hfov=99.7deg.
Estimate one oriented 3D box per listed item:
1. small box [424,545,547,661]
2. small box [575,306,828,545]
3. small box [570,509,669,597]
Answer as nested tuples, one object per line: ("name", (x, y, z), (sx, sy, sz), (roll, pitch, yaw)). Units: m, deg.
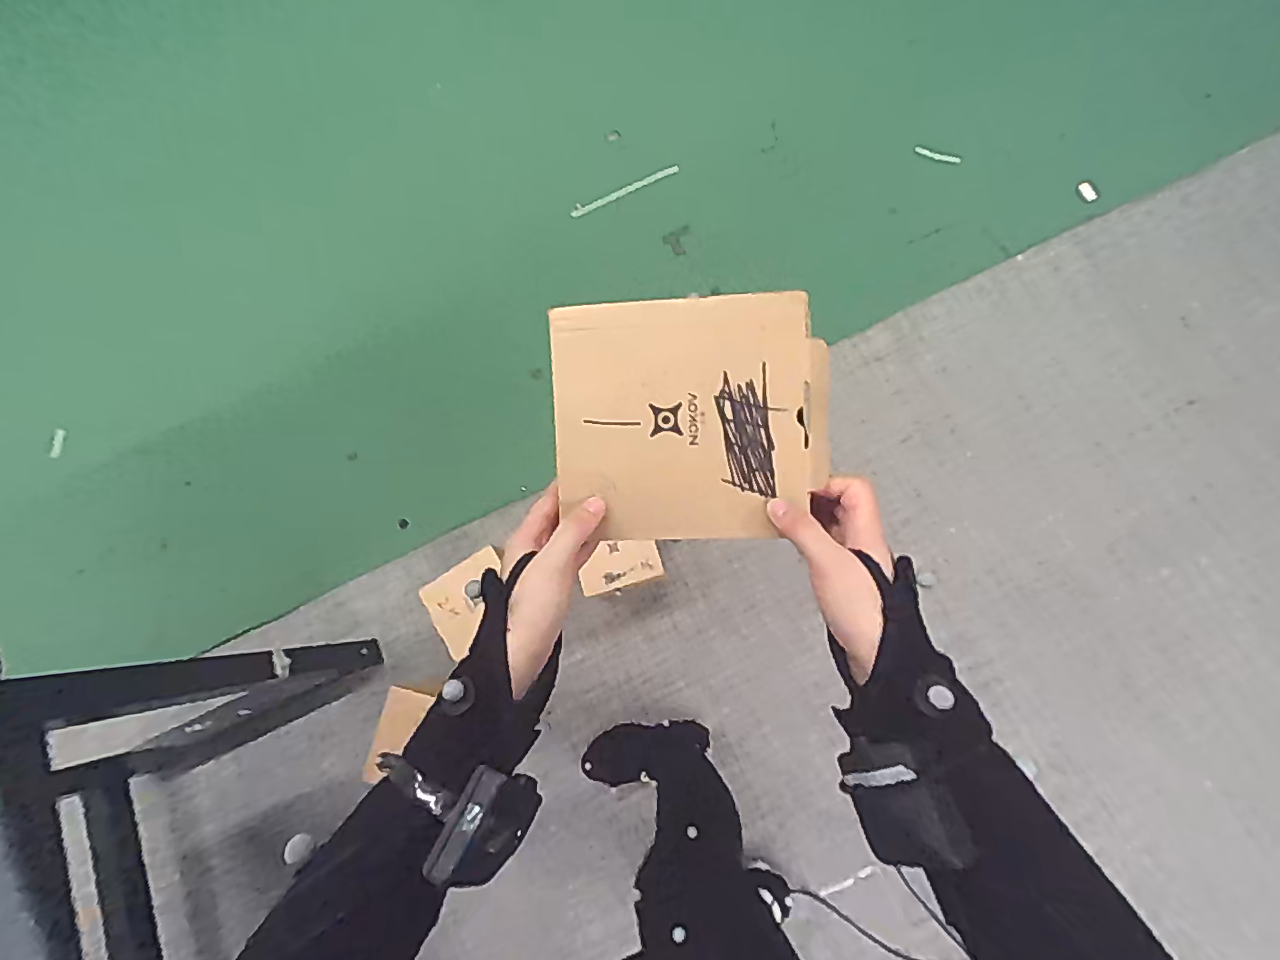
("small box", (-0.314, 0.258, 1.146), (0.179, 0.176, 0.168), (-33, 76, -4))
("small box", (0.049, -0.043, 0.456), (0.179, 0.176, 0.168), (-1, 94, 7))
("small box", (-0.040, 0.143, 1.154), (0.168, 0.176, 0.179), (-16, 76, -1))
